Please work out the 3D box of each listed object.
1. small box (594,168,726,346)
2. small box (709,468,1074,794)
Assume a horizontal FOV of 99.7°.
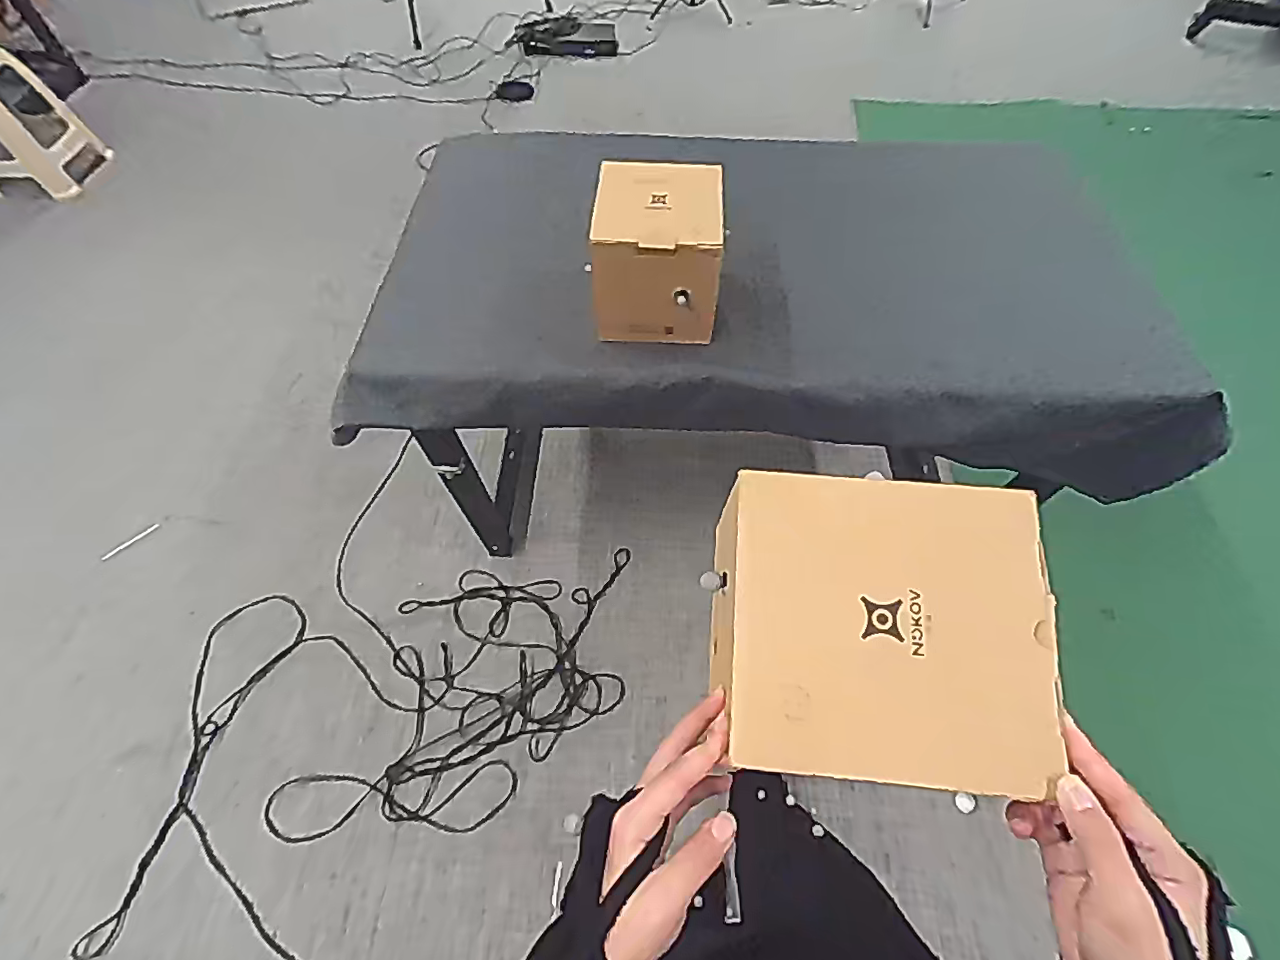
[{"bbox_3d":[0.030,-0.310,0.766,0.168,0.176,0.179,3,58,1],"label":"small box"},{"bbox_3d":[0.143,0.099,0.377,0.179,0.176,0.168,4,73,3],"label":"small box"}]
